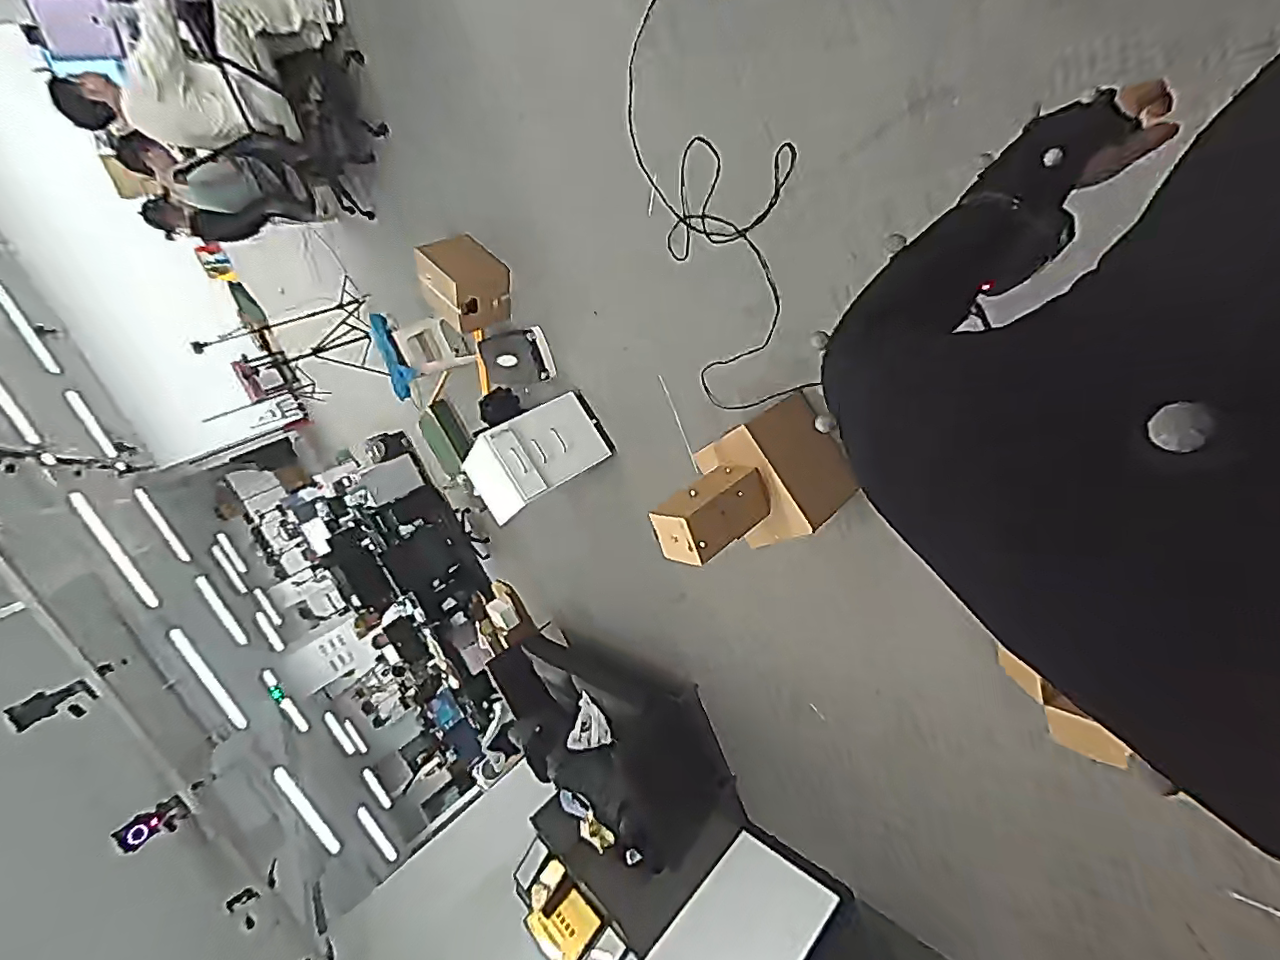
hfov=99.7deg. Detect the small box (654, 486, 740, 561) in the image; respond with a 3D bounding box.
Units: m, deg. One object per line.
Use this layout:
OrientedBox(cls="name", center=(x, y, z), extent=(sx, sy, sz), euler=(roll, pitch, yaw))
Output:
OrientedBox(cls="small box", center=(0.178, 0.128, 1.682), extent=(0.179, 0.176, 0.168), euler=(5, 122, 54))
